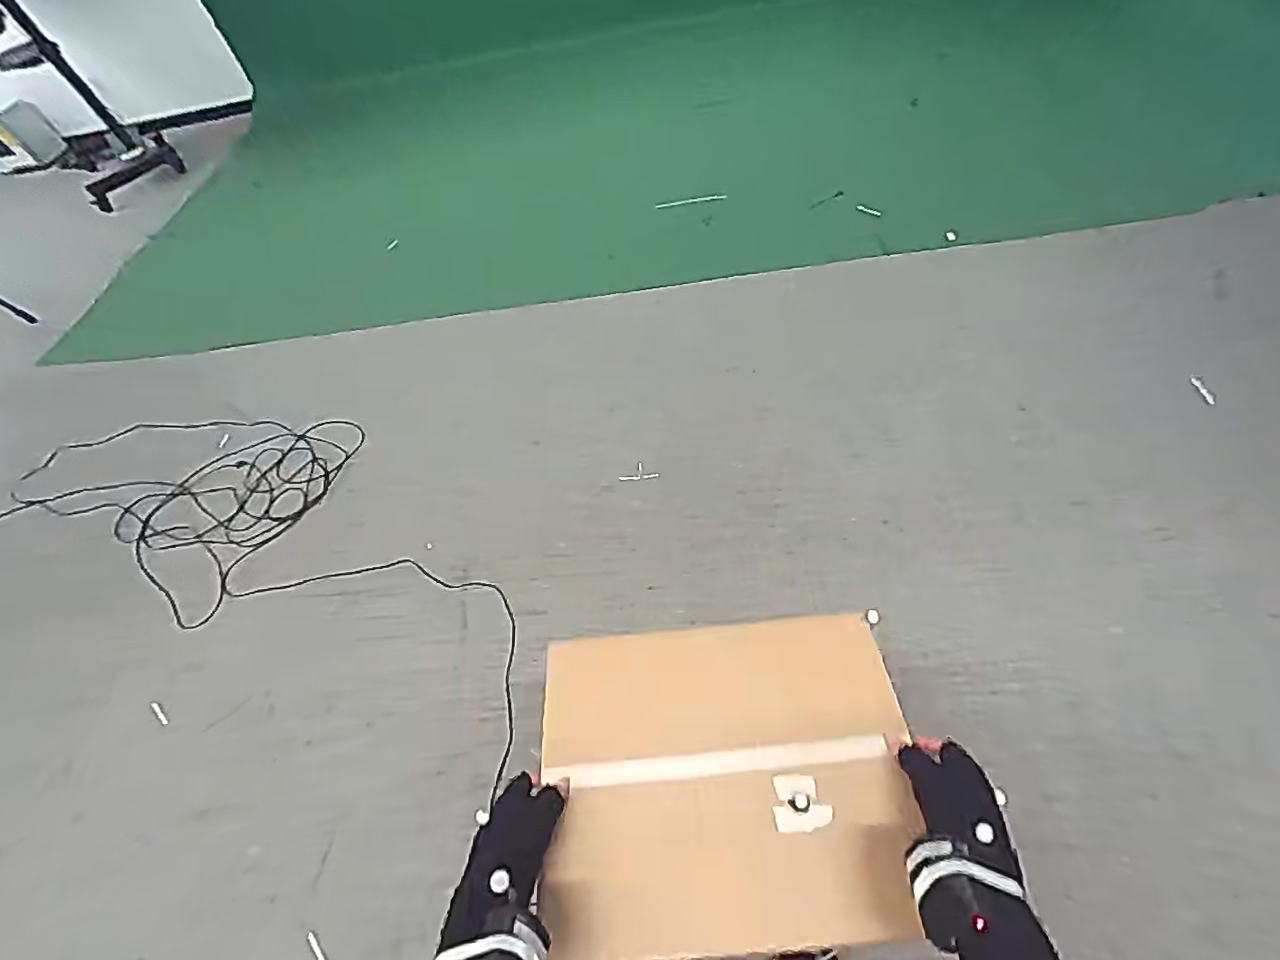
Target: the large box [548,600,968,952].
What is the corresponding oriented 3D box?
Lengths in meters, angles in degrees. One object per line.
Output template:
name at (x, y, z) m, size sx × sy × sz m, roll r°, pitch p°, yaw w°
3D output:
large box at (0.106, 0.387, 0.708) m, size 0.408 × 0.320 × 0.320 m, roll -6°, pitch 51°, yaw 0°
